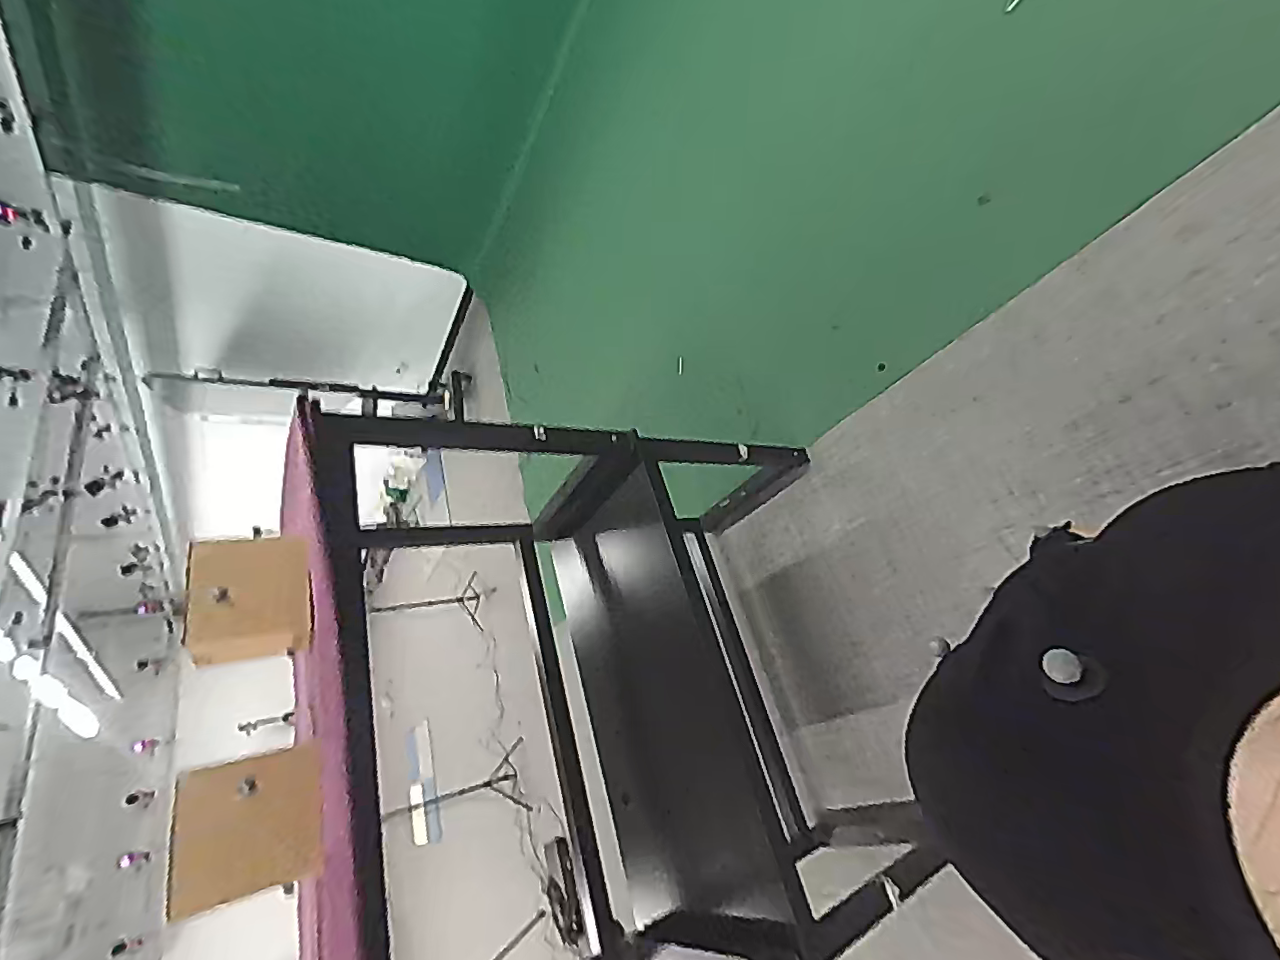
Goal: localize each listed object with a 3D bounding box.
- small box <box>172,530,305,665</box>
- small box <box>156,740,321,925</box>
[{"bbox_3d":[-0.677,0.198,0.927,0.168,0.176,0.179,-44,55,46],"label":"small box"},{"bbox_3d":[-0.563,0.487,0.768,0.168,0.176,0.179,-46,55,44],"label":"small box"}]
